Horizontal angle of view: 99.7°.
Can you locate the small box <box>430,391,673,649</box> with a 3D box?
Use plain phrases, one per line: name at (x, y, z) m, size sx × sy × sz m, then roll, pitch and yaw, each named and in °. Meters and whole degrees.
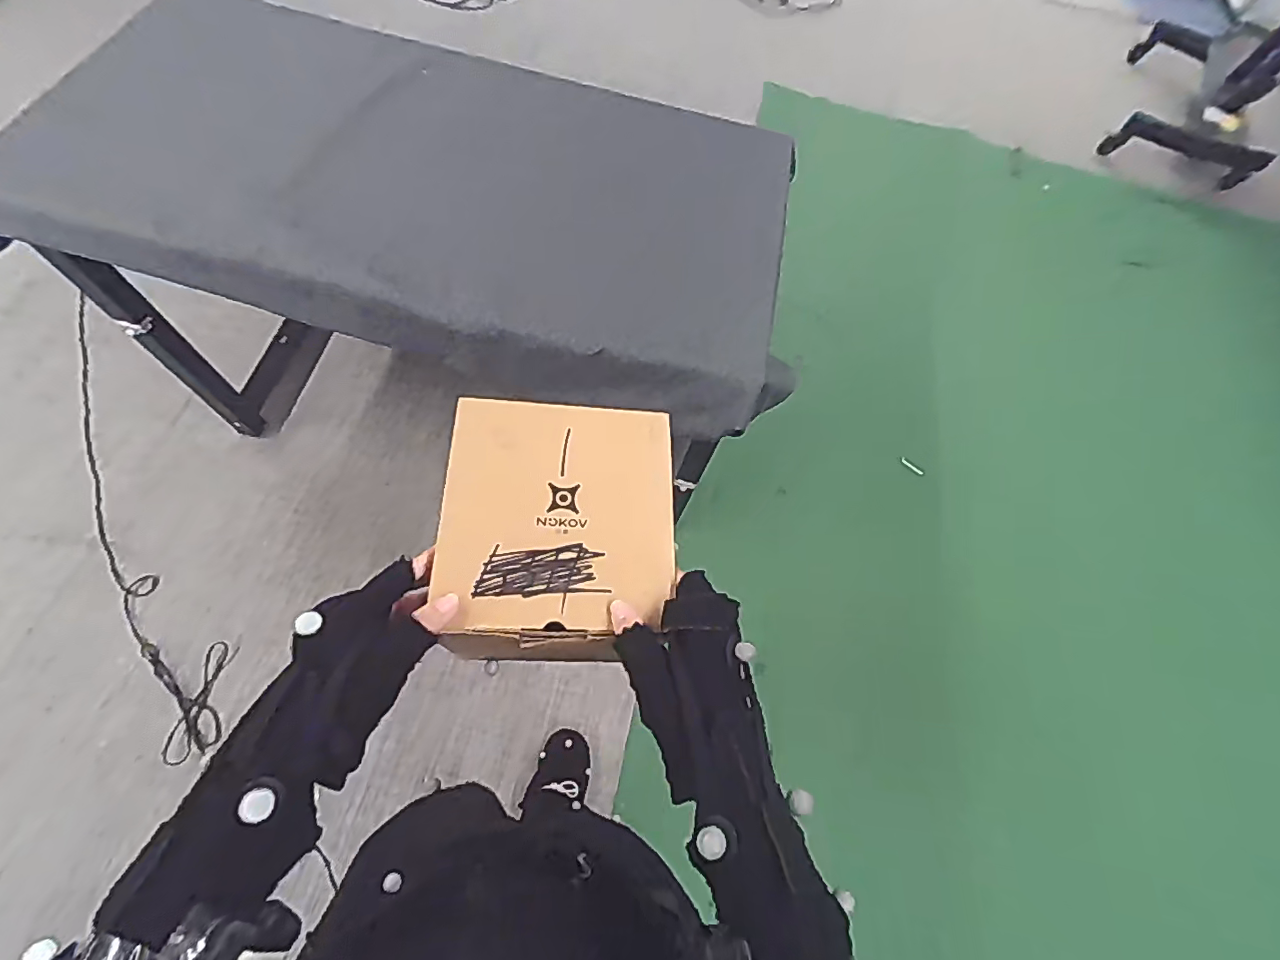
small box at (-0.067, 0.047, 0.466) m, size 0.168 × 0.176 × 0.179 m, roll 3°, pitch 65°, yaw -8°
